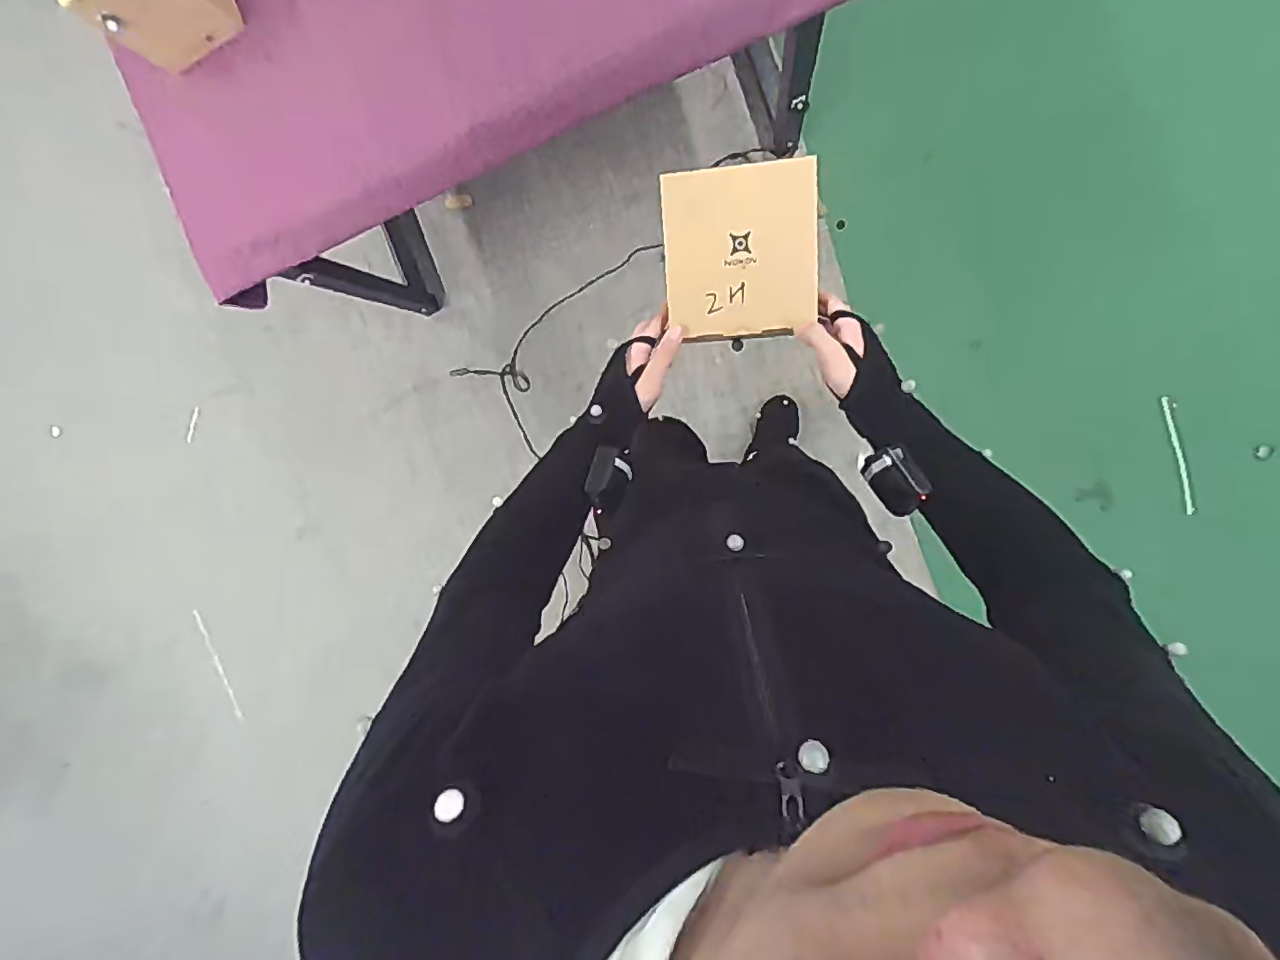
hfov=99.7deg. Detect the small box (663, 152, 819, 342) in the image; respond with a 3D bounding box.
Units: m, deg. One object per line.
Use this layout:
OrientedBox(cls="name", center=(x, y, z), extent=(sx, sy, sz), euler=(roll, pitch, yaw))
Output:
OrientedBox(cls="small box", center=(0.118, -0.267, 0.660), extent=(0.168, 0.176, 0.179), euler=(-2, 102, 8))
